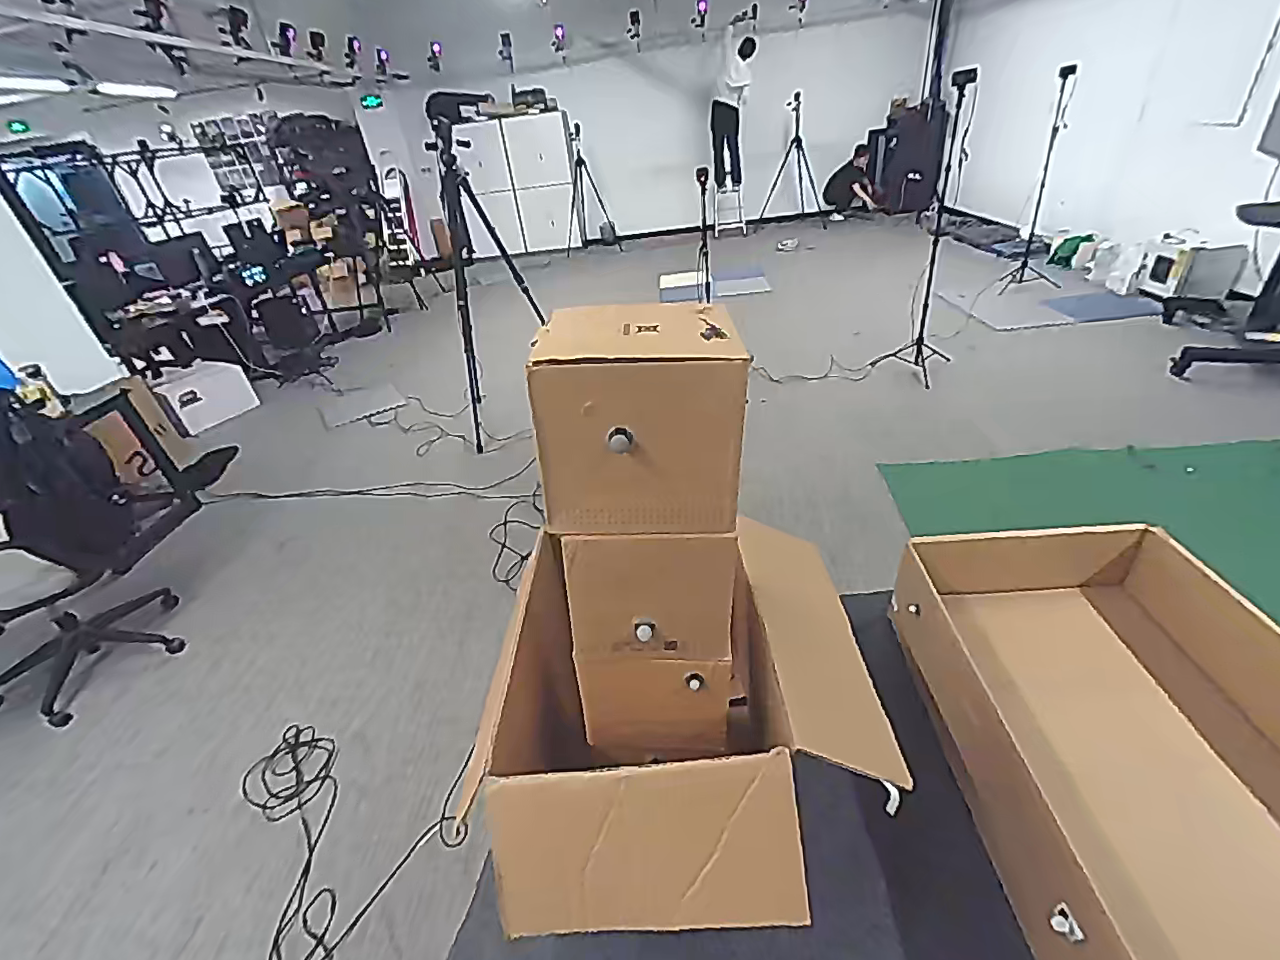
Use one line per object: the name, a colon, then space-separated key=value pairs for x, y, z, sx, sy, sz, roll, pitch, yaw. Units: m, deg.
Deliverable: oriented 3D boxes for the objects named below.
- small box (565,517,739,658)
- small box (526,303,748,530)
small box: x=0.014 y=0.075 z=0.611 sx=0.168 sy=0.176 sz=0.179 roll=-1 pitch=33 yaw=2
small box: x=0.003 y=-0.063 z=0.523 sx=0.179 sy=0.176 sz=0.168 roll=-2 pitch=32 yaw=2
